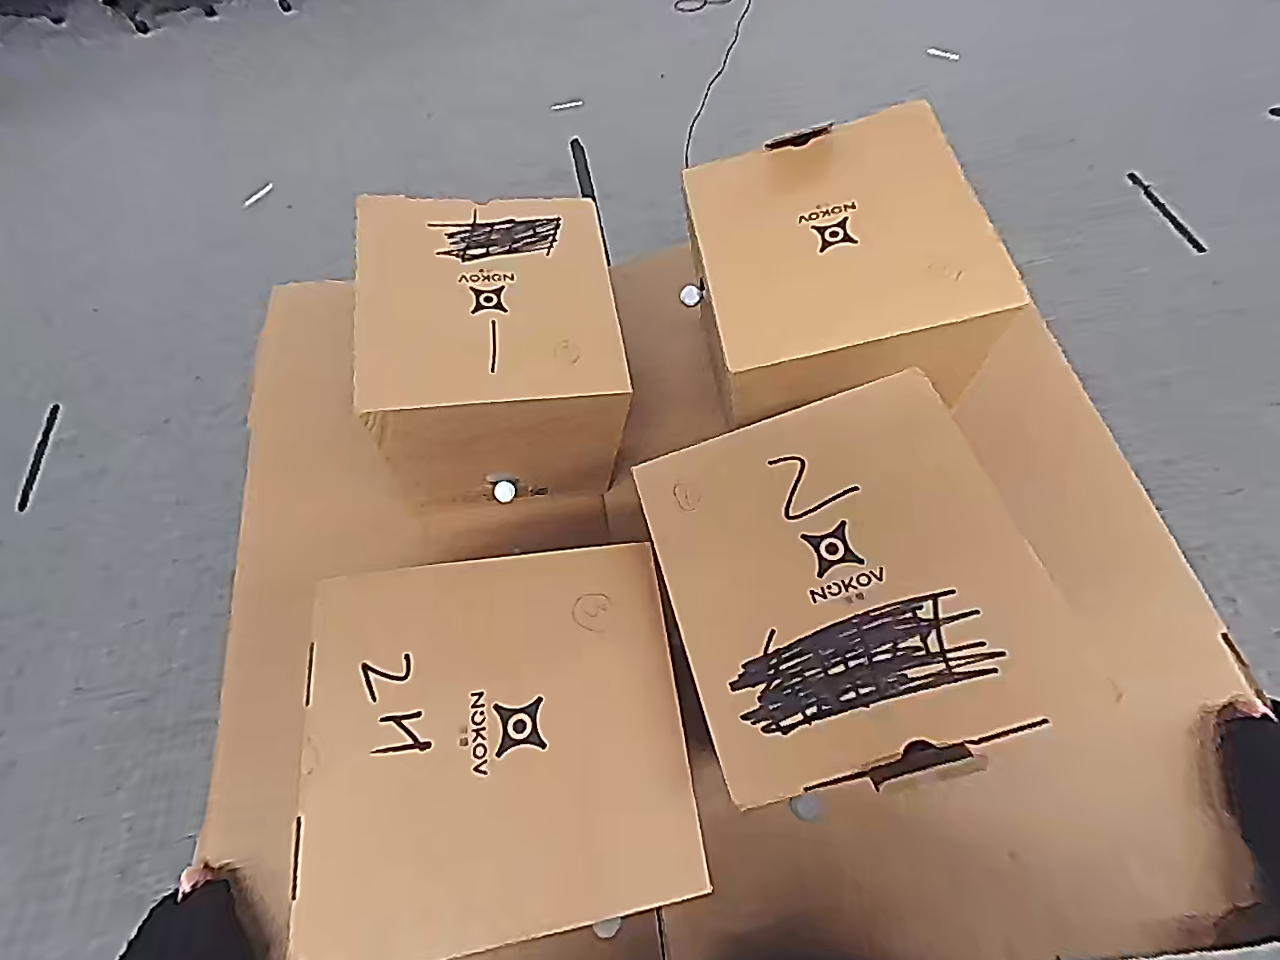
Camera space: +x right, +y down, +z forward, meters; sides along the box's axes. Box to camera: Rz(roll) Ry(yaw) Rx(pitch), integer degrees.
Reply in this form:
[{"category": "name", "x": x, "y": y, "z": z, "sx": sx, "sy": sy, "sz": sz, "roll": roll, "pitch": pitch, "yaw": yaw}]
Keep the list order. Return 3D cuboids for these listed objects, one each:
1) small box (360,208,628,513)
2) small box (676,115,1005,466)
[{"category": "small box", "x": -0.112, "y": -0.090, "z": 0.440, "sx": 0.168, "sy": 0.176, "sz": 0.179, "roll": -6, "pitch": 67, "yaw": -11}, {"category": "small box", "x": 0.132, "y": -0.124, "z": 0.416, "sx": 0.168, "sy": 0.176, "sz": 0.179, "roll": -12, "pitch": 65, "yaw": 8}]
